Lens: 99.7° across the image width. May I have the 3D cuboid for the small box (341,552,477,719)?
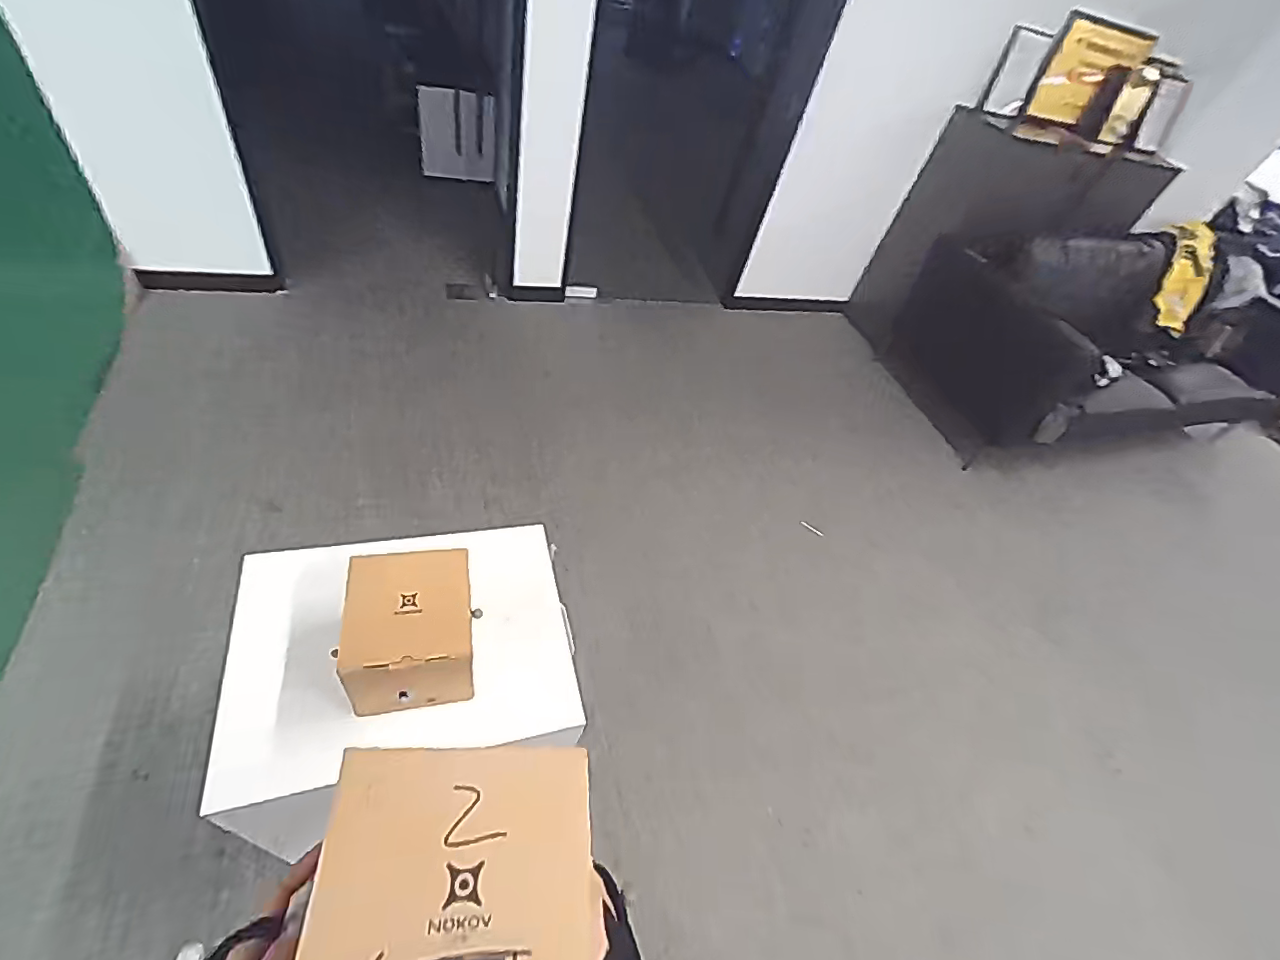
[{"bbox_3d":[-0.335,0.231,0.811,0.168,0.176,0.179,-2,50,-19],"label":"small box"}]
